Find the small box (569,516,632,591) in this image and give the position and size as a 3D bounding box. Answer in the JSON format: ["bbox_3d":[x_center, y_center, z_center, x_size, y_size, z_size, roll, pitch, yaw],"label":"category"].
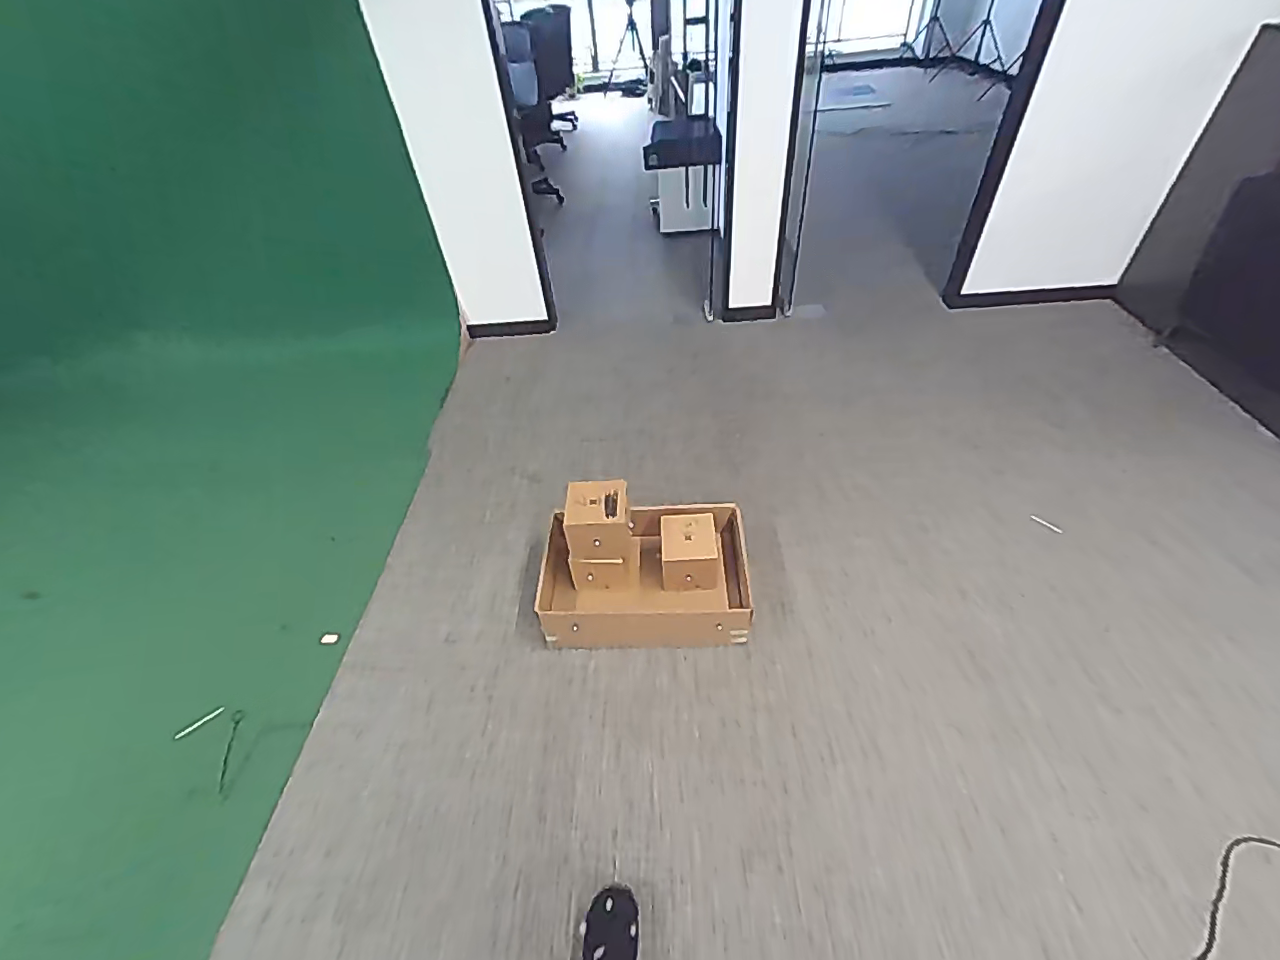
[{"bbox_3d":[-0.118,0.235,1.711,0.168,0.176,0.179,1,45,6],"label":"small box"}]

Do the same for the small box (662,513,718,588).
[{"bbox_3d":[0.155,0.225,1.691,0.168,0.176,0.179,-2,46,3],"label":"small box"}]
